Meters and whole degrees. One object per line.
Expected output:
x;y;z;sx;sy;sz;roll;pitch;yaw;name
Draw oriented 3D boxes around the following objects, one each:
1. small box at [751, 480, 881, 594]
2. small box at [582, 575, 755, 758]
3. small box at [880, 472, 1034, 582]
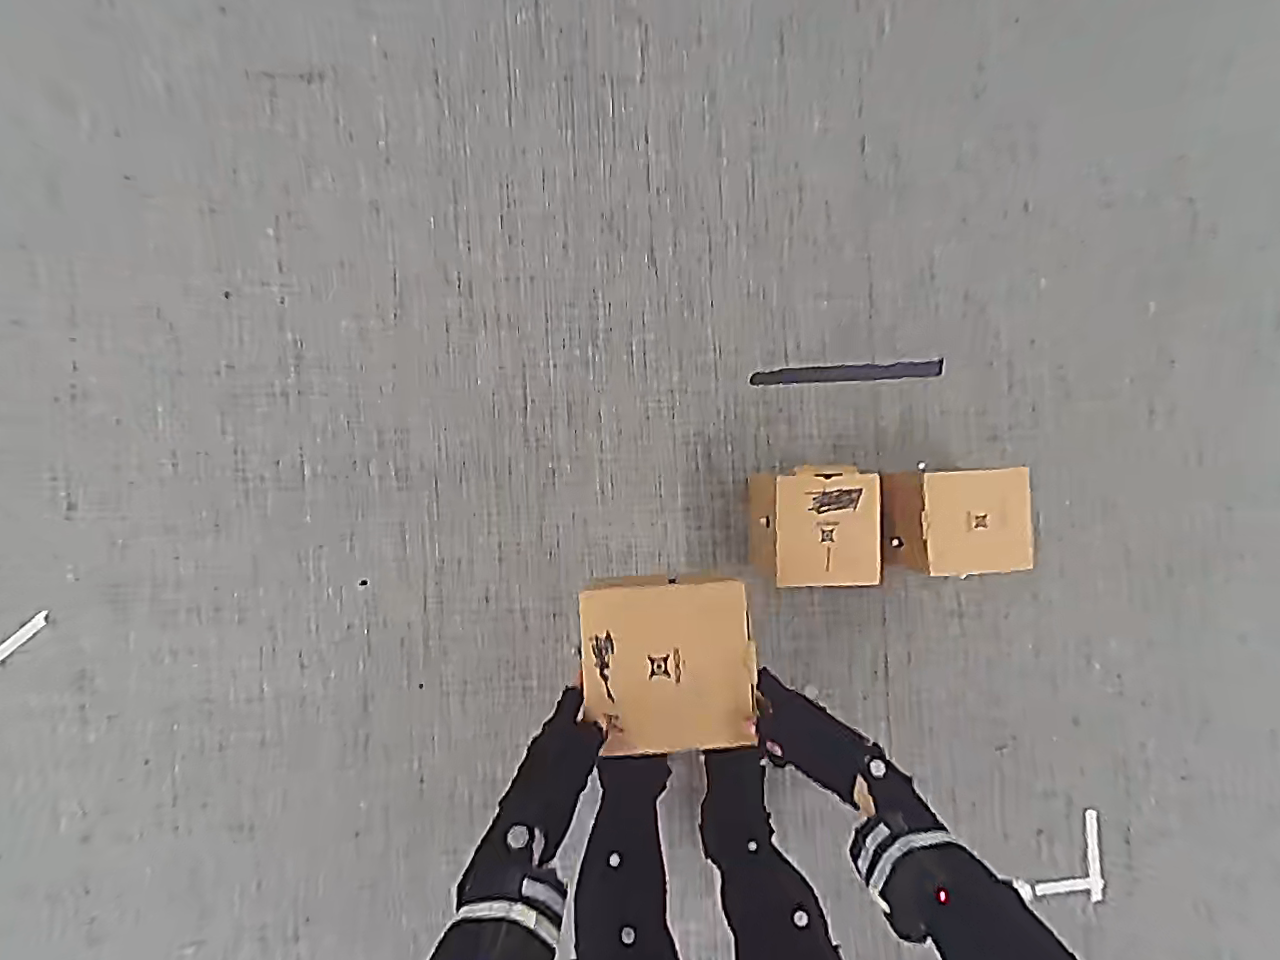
0.287;0.088;0.912;0.168;0.176;0.179;0;91;-2;small box
0.025;0.203;0.633;0.179;0.176;0.168;-3;84;-3;small box
0.525;0.074;0.924;0.179;0.176;0.168;-4;91;-3;small box
